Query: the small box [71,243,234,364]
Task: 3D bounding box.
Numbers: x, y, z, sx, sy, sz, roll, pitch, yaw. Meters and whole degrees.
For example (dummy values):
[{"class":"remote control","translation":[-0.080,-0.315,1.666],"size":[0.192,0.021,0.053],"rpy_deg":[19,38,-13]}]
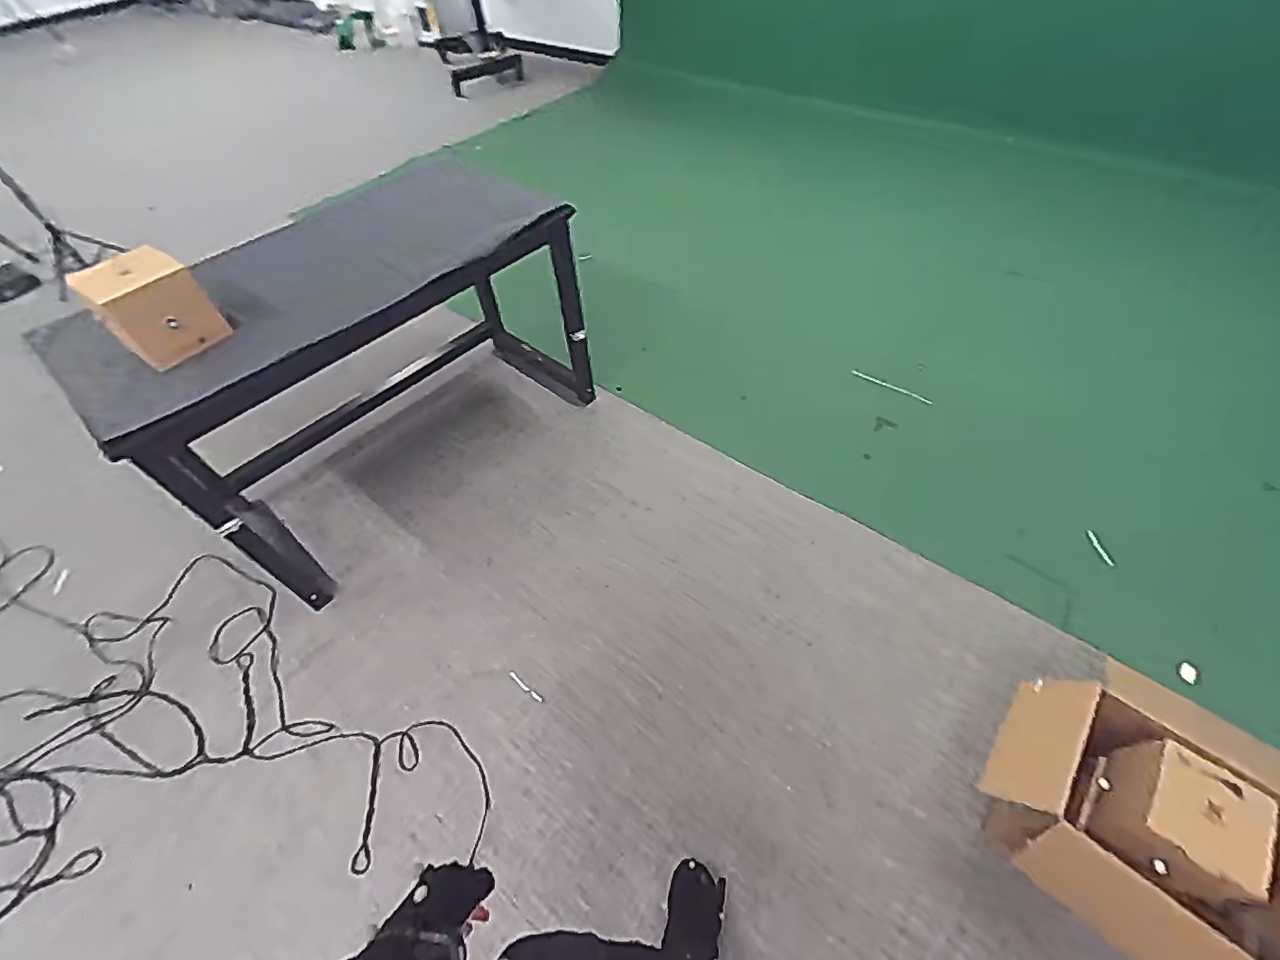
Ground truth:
[{"class":"small box","translation":[-1.032,-0.374,1.160],"size":[0.179,0.176,0.168],"rpy_deg":[28,57,24]}]
